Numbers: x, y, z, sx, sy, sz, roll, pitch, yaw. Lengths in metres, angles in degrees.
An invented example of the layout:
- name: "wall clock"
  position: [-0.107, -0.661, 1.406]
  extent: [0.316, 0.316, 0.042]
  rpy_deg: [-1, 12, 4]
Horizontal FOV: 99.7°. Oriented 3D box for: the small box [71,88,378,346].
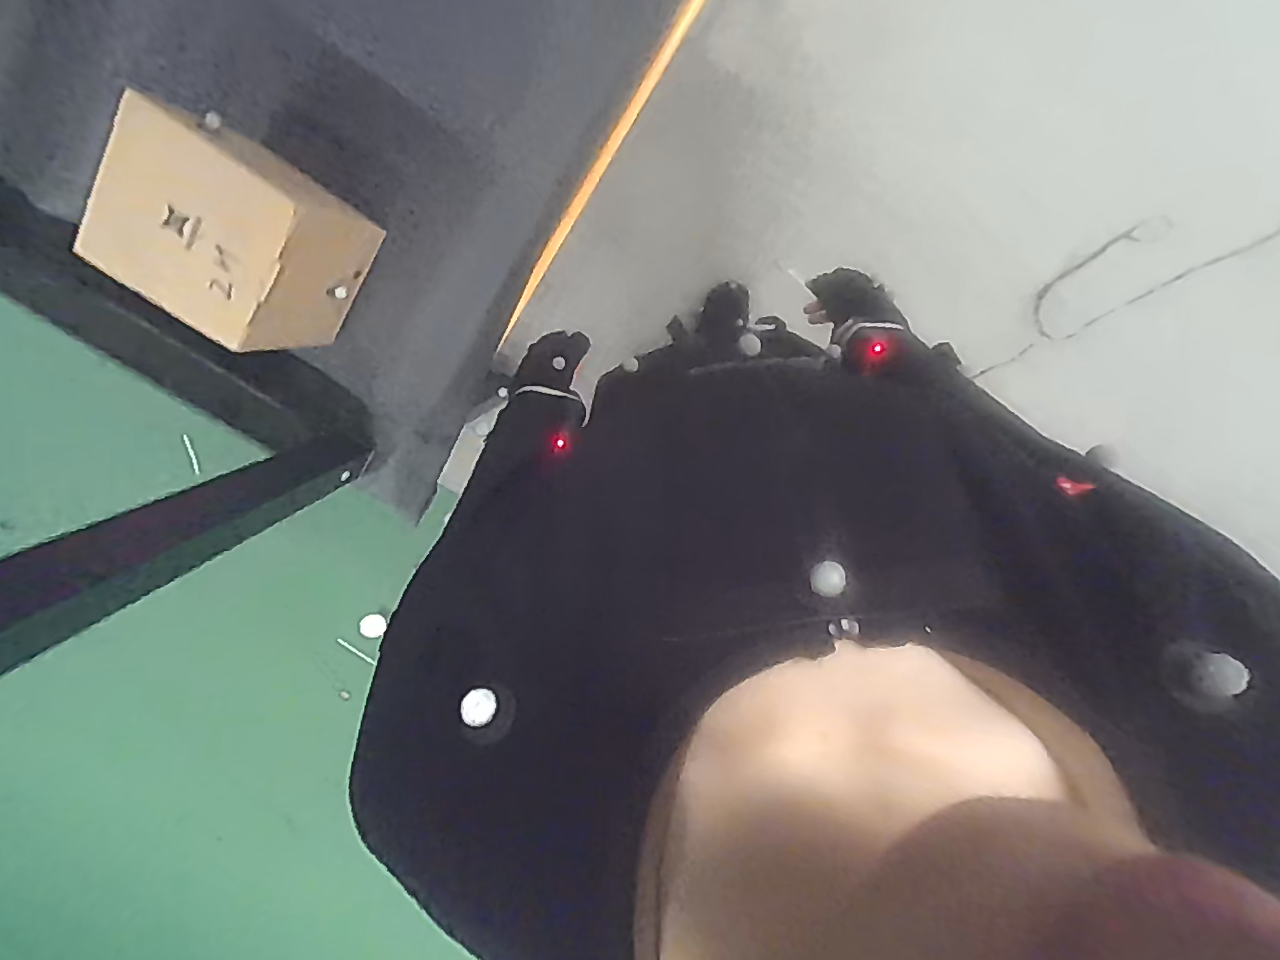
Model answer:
- name: "small box"
  position: [-0.432, -0.265, 0.590]
  extent: [0.179, 0.176, 0.168]
  rpy_deg: [33, 106, -7]
